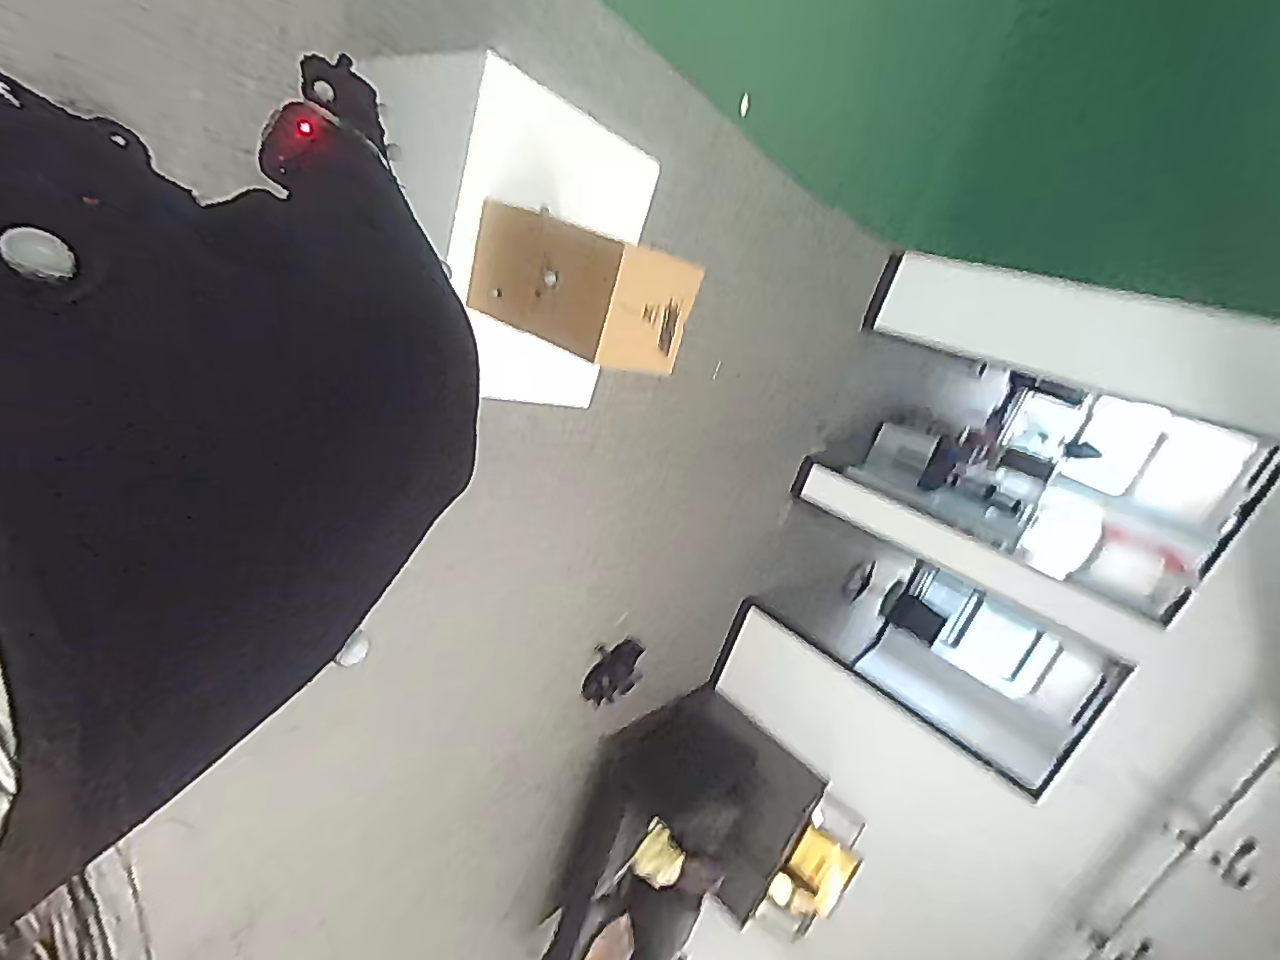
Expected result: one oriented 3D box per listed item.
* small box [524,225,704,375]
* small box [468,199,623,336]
[{"bbox_3d":[-0.040,-0.261,0.797,0.179,0.176,0.168,-12,126,-49],"label":"small box"},{"bbox_3d":[-0.159,-0.337,0.882,0.168,0.176,0.179,-9,121,-49],"label":"small box"}]
